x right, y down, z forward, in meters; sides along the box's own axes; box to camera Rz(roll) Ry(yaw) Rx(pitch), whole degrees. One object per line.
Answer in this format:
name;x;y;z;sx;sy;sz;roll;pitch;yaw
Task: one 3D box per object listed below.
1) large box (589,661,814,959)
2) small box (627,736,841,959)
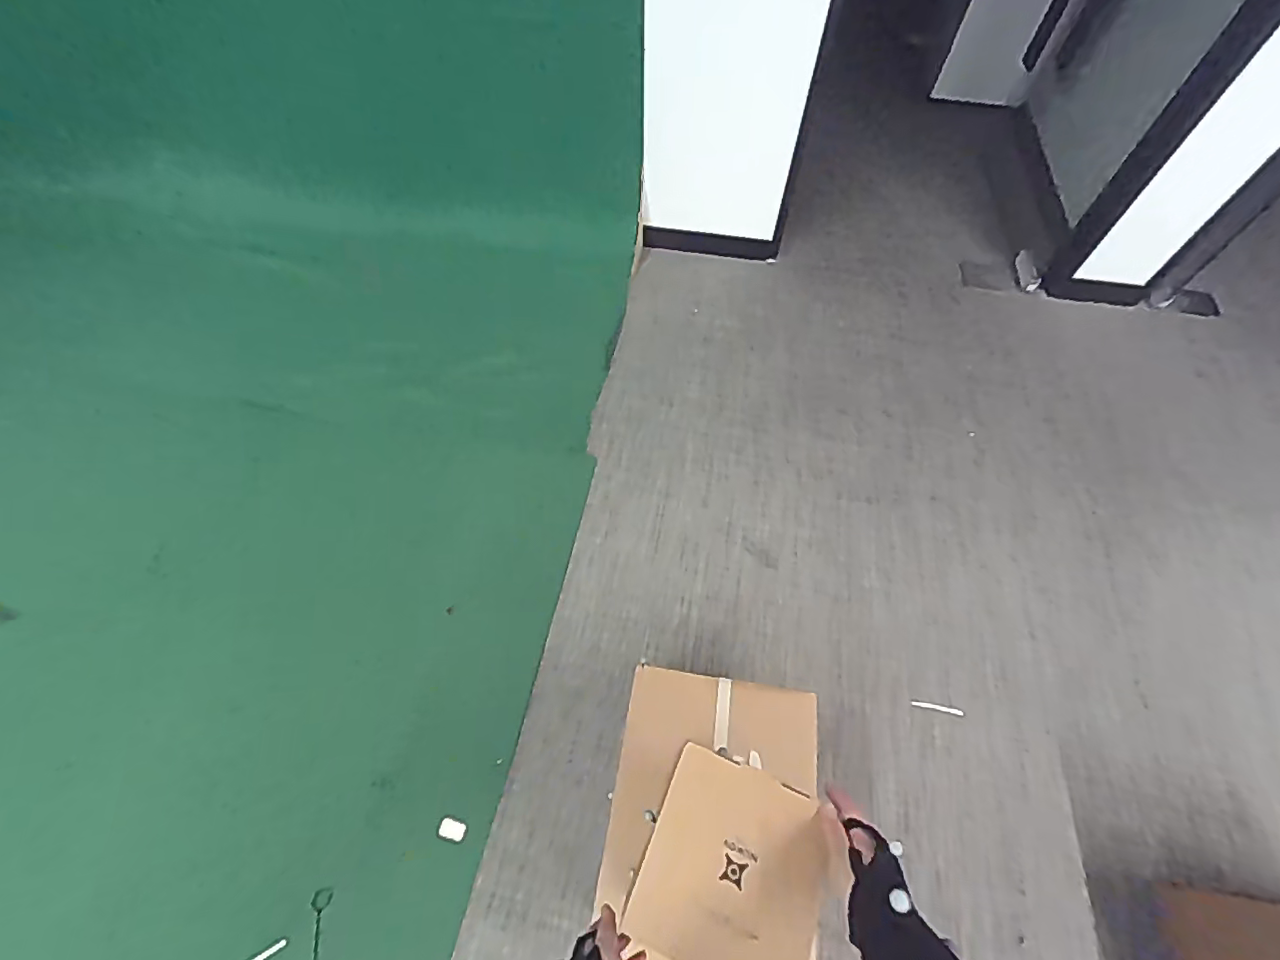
large box;0.111;0.580;0.954;0.320;0.320;0.408;9;59;5
small box;0.093;0.407;0.586;0.168;0.176;0.179;21;62;12
